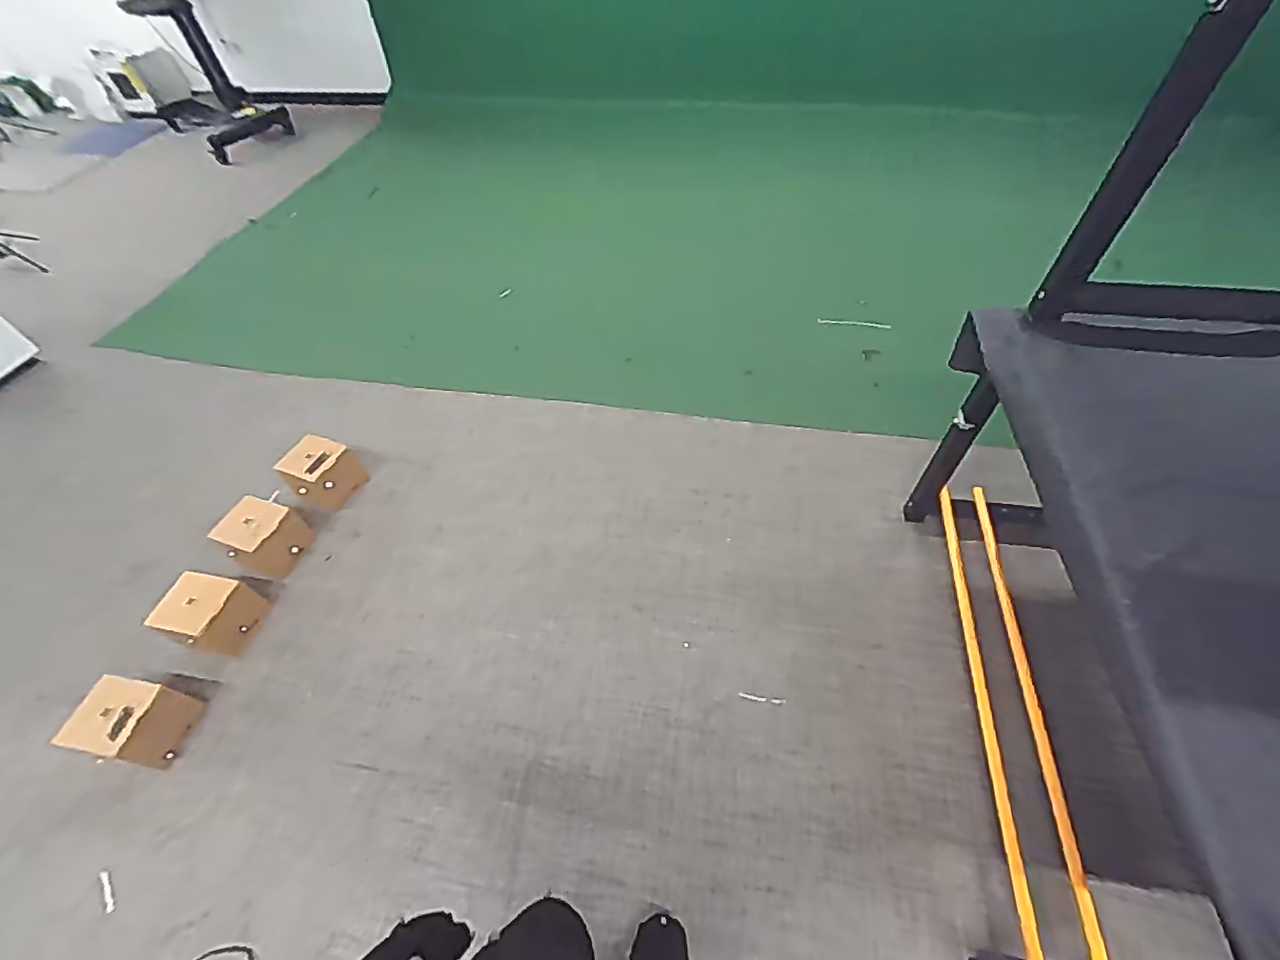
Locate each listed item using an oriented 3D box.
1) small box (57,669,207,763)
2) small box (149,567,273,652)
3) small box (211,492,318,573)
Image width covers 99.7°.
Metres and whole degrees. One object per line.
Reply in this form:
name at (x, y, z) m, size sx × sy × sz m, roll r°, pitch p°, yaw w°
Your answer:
small box at (-1.254, 0.594, 1.353) m, size 0.179 × 0.176 × 0.168 m, roll 7°, pitch 52°, yaw 9°
small box at (-1.201, 0.369, 1.529) m, size 0.179 × 0.176 × 0.168 m, roll 8°, pitch 53°, yaw 8°
small box at (-1.159, 0.168, 1.683) m, size 0.179 × 0.176 × 0.168 m, roll 15°, pitch 55°, yaw 13°
